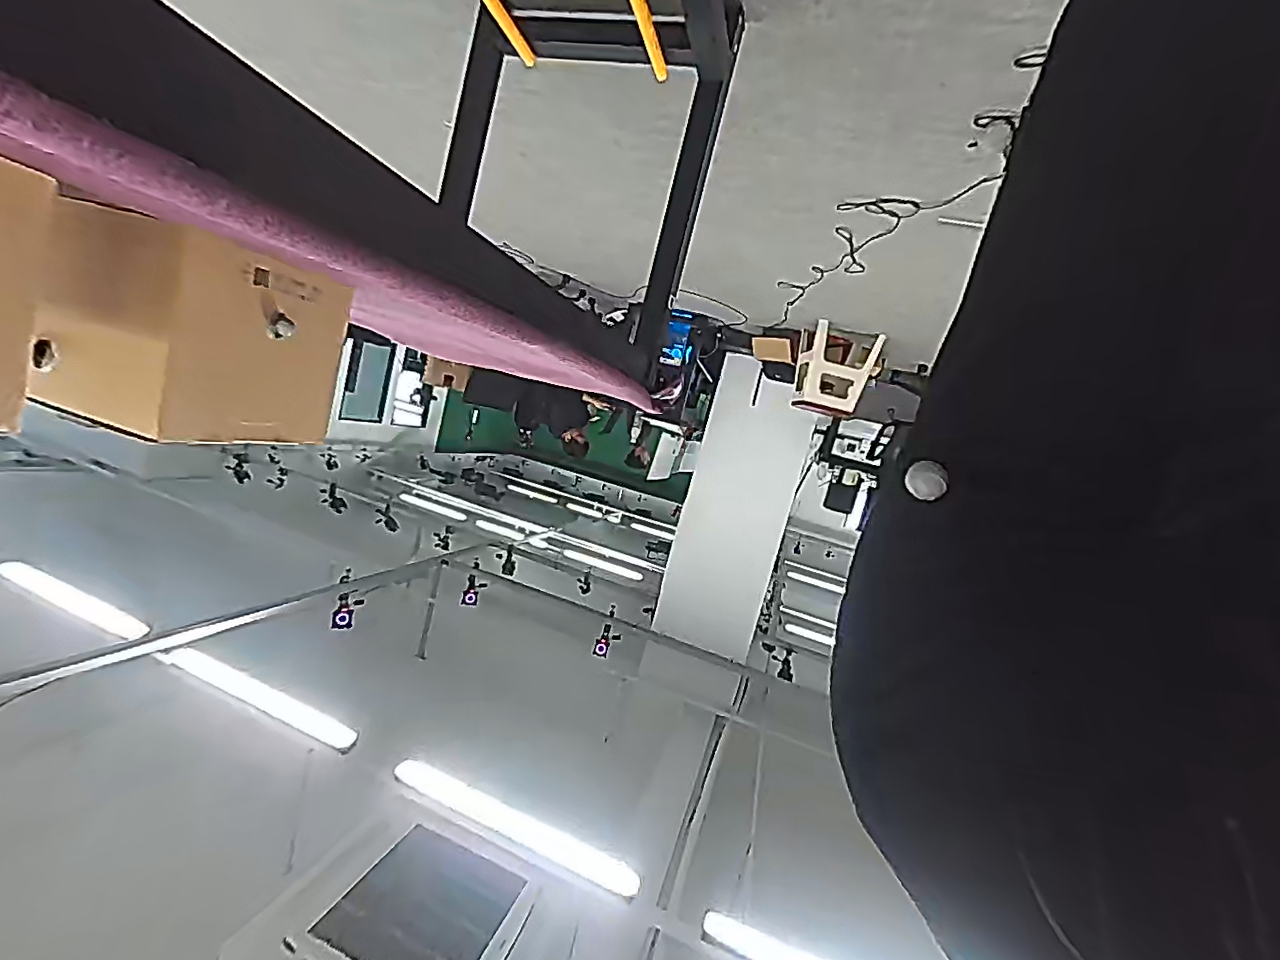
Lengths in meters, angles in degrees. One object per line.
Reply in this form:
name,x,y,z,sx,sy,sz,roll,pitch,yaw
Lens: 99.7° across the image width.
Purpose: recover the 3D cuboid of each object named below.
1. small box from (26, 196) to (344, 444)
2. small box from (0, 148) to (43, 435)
small box,-0.410,-0.136,0.498,0.179,0.176,0.168,16,-172,12
small box,-0.466,-0.124,0.265,0.168,0.176,0.179,17,-173,9
